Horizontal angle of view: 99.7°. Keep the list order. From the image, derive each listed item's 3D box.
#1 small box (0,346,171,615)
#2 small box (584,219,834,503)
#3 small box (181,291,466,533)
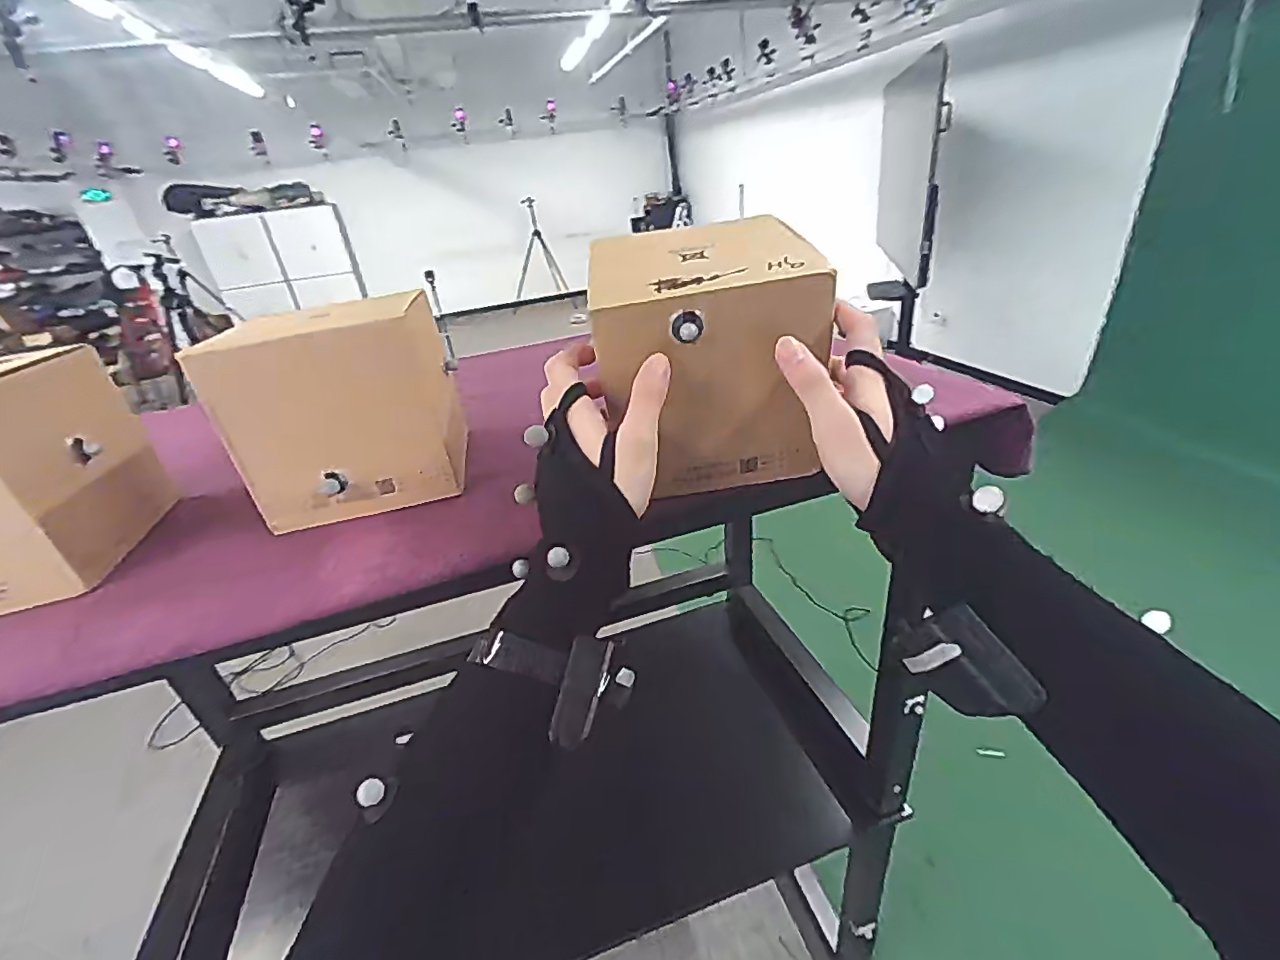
[{"bbox_3d":[-0.545,0.002,0.447,0.168,0.176,0.179,-14,30,-12],"label":"small box"},{"bbox_3d":[0.053,-0.104,0.463,0.168,0.176,0.179,-9,37,3],"label":"small box"},{"bbox_3d":[-0.274,-0.074,0.523,0.168,0.176,0.179,-13,29,-9],"label":"small box"}]
